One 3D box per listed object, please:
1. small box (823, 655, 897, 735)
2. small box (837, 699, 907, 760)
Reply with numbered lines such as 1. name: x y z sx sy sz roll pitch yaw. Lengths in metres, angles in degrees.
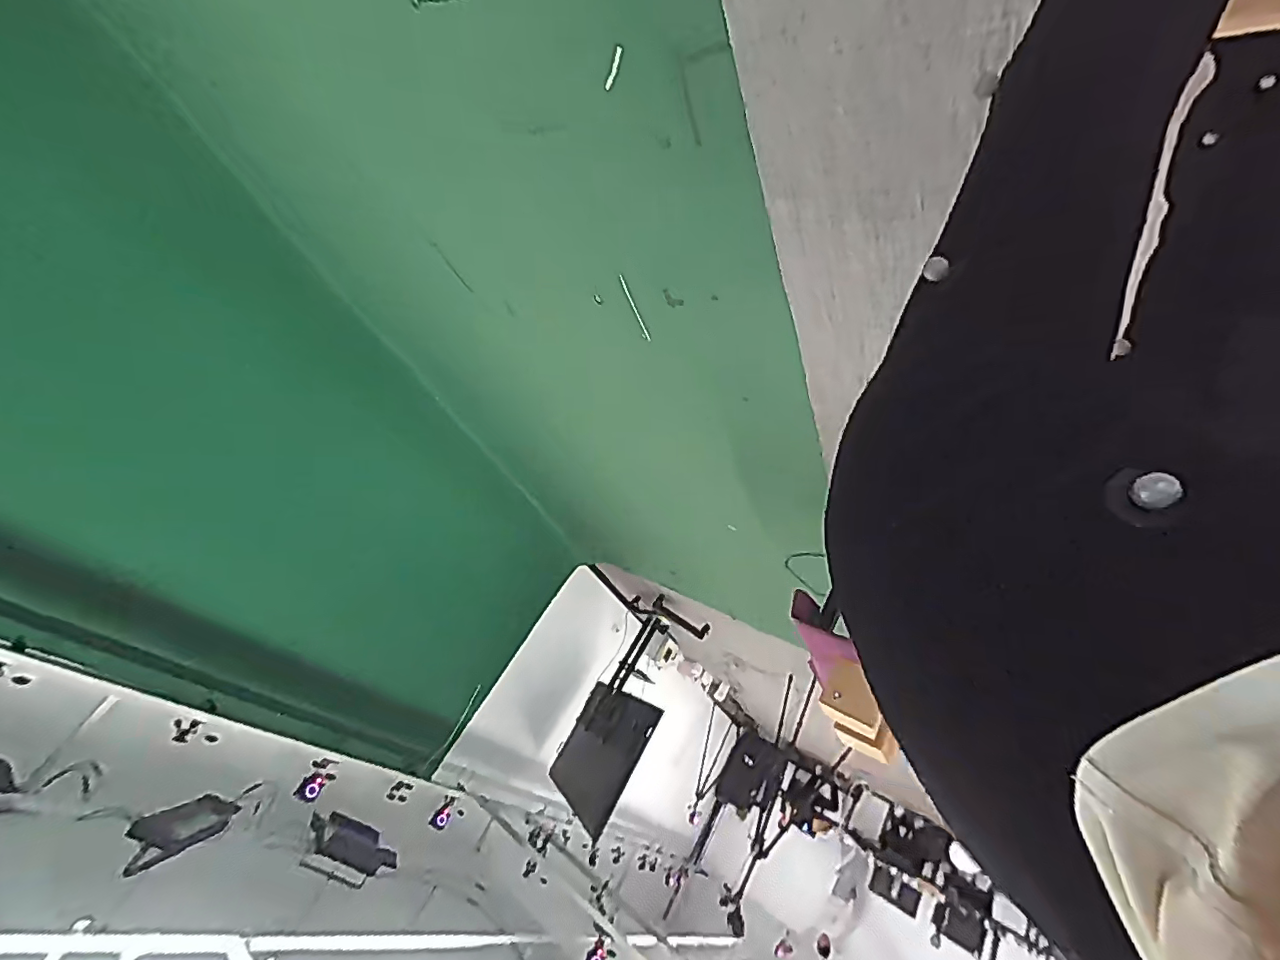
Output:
1. small box: 0.718 0.693 1.764 0.179 0.176 0.168 18 155 34
2. small box: 0.853 0.883 1.982 0.179 0.176 0.168 11 149 42
